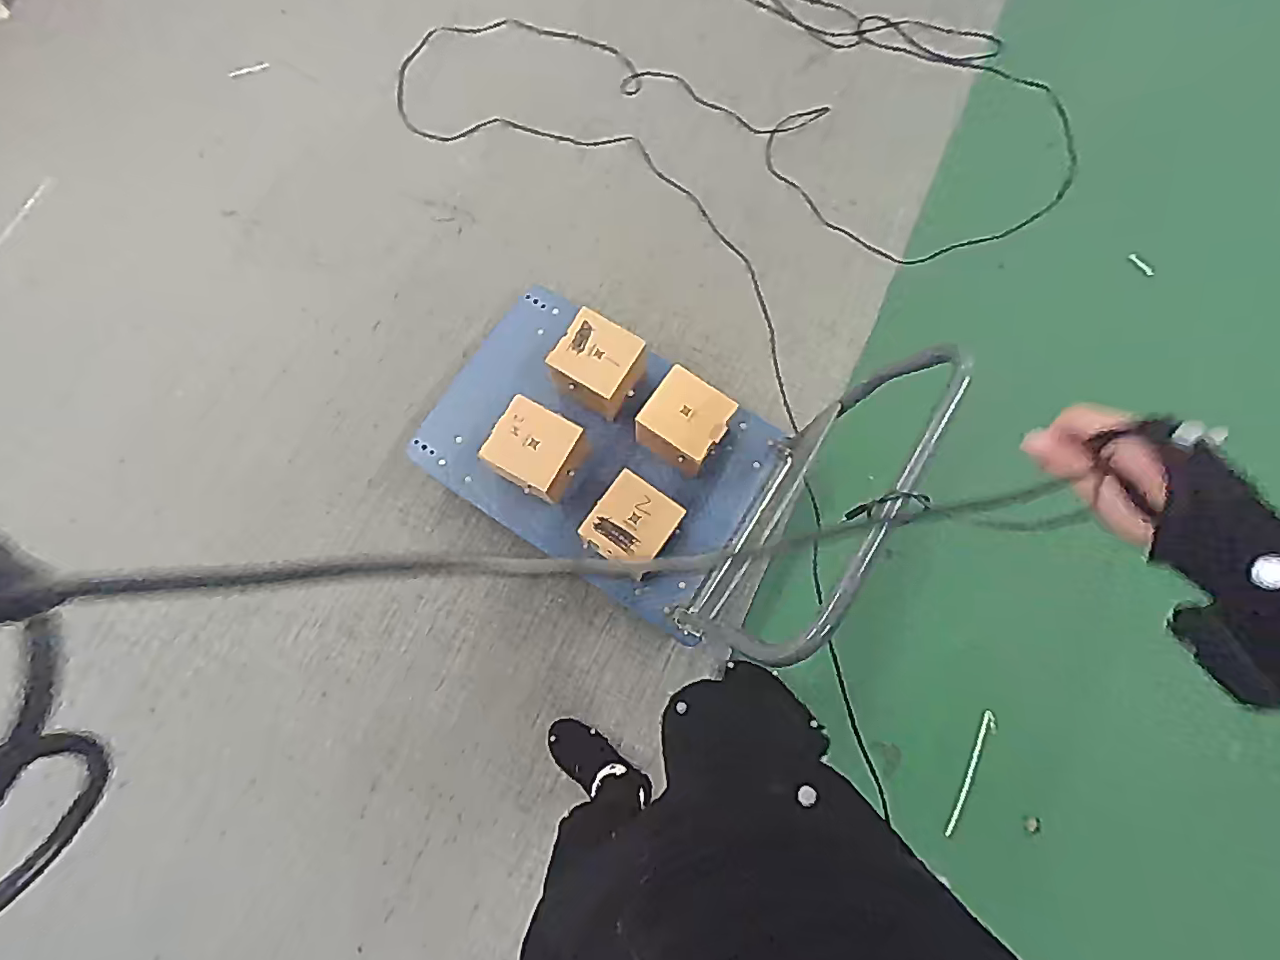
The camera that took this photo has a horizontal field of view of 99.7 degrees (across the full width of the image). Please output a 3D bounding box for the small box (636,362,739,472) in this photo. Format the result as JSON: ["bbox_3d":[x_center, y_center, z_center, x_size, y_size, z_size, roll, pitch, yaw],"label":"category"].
[{"bbox_3d":[0.104,-0.139,1.276,0.179,0.176,0.168,35,80,6],"label":"small box"}]

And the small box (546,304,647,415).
[{"bbox_3d":[-0.100,-0.280,1.301,0.179,0.176,0.168,31,80,5],"label":"small box"}]

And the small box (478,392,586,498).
[{"bbox_3d":[-0.238,-0.072,1.254,0.179,0.176,0.168,29,78,5],"label":"small box"}]
